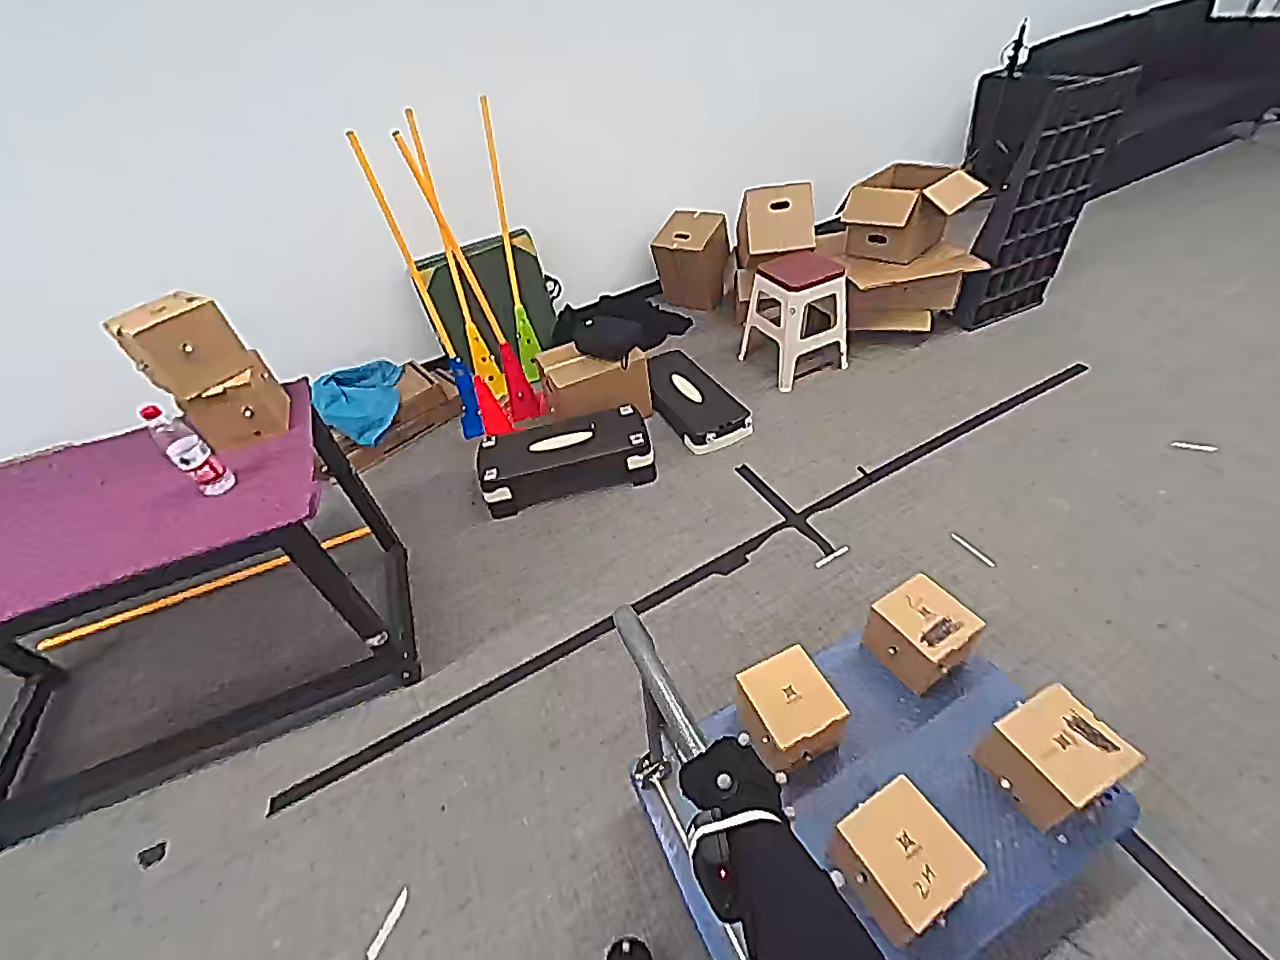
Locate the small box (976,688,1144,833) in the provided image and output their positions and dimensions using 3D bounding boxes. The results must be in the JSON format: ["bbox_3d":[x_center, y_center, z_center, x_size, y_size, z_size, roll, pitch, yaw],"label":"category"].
[{"bbox_3d":[0.802,0.549,1.057,0.179,0.176,0.168,-23,45,-13],"label":"small box"}]

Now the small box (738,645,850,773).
[{"bbox_3d":[0.326,0.504,1.187,0.168,0.176,0.179,-21,46,-12],"label":"small box"}]

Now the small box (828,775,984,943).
[{"bbox_3d":[0.463,0.683,0.975,0.168,0.176,0.179,-25,45,-16],"label":"small box"}]
